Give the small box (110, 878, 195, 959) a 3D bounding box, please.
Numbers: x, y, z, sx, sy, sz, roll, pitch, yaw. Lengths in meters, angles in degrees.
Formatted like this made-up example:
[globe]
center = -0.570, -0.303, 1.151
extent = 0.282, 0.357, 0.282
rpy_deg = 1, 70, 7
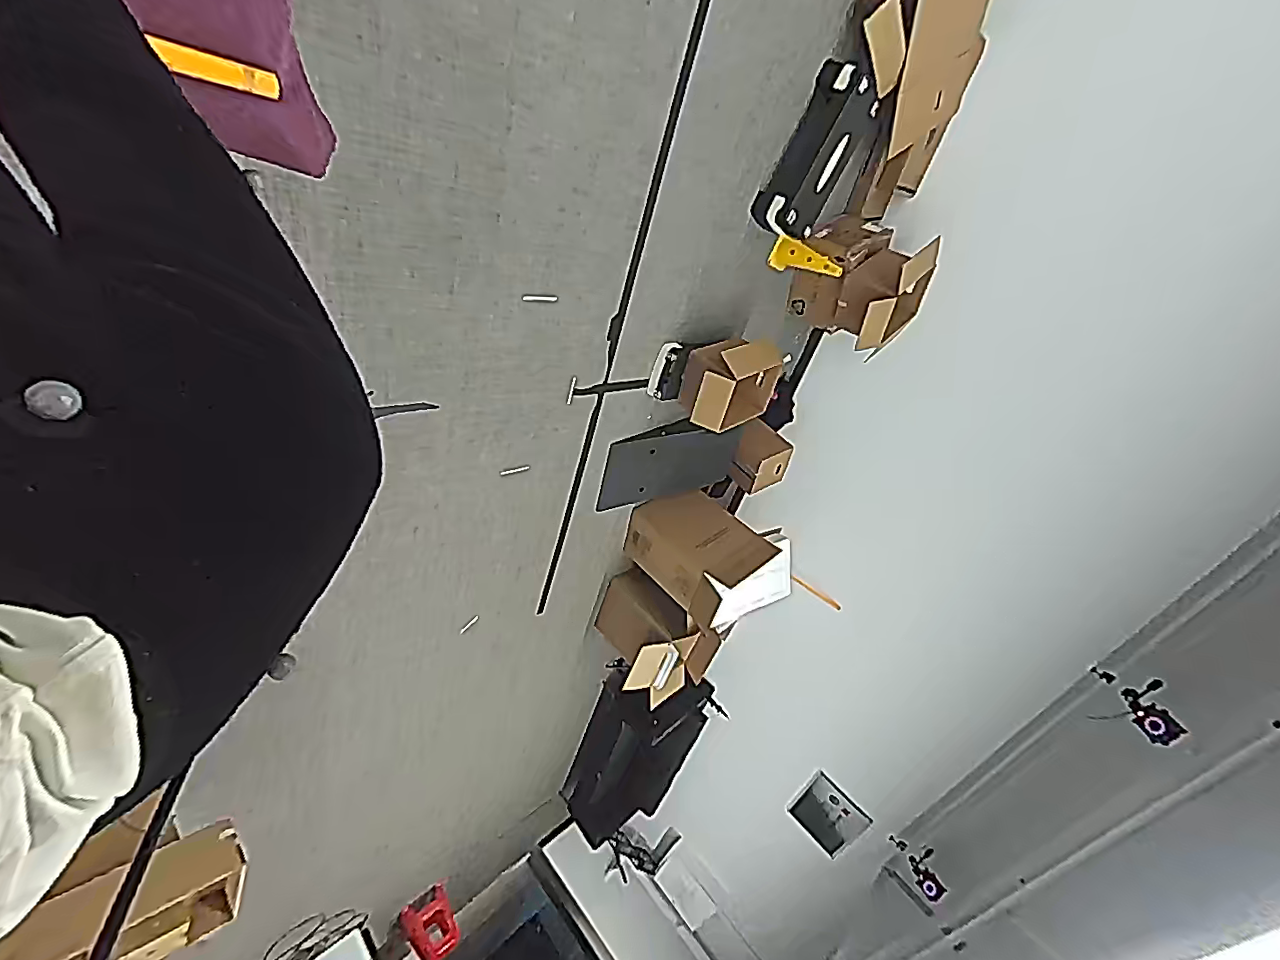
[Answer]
[small box]
center = -1.560, 1.436, 1.727
extent = 0.179, 0.176, 0.168
rpy_deg = -5, 129, -51
